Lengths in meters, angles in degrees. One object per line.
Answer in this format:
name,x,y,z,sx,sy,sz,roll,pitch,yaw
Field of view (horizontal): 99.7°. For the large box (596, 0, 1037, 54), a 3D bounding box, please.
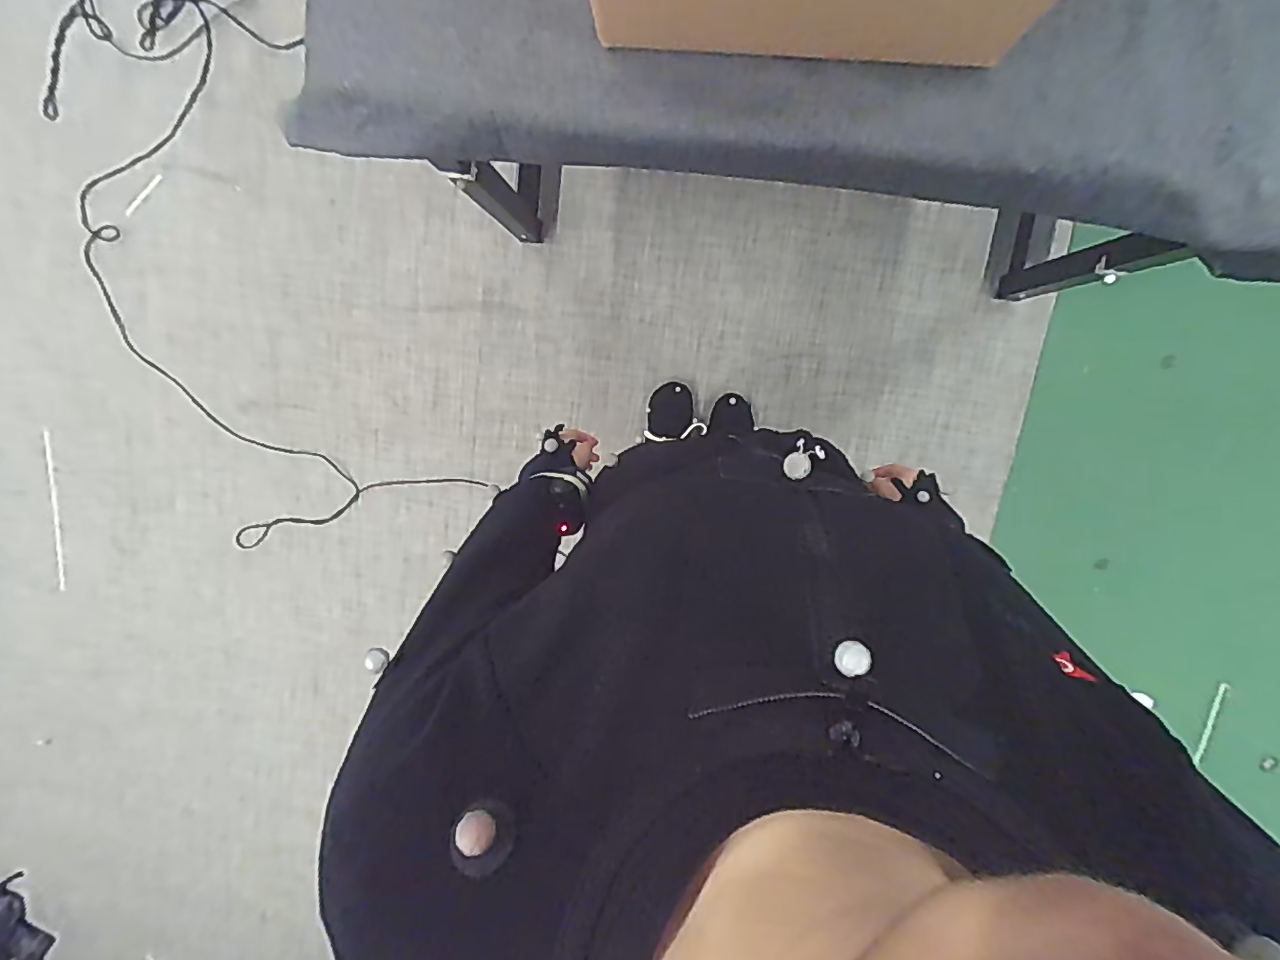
large box,0.158,-0.565,0.383,0.408,0.320,0.320,4,101,2
